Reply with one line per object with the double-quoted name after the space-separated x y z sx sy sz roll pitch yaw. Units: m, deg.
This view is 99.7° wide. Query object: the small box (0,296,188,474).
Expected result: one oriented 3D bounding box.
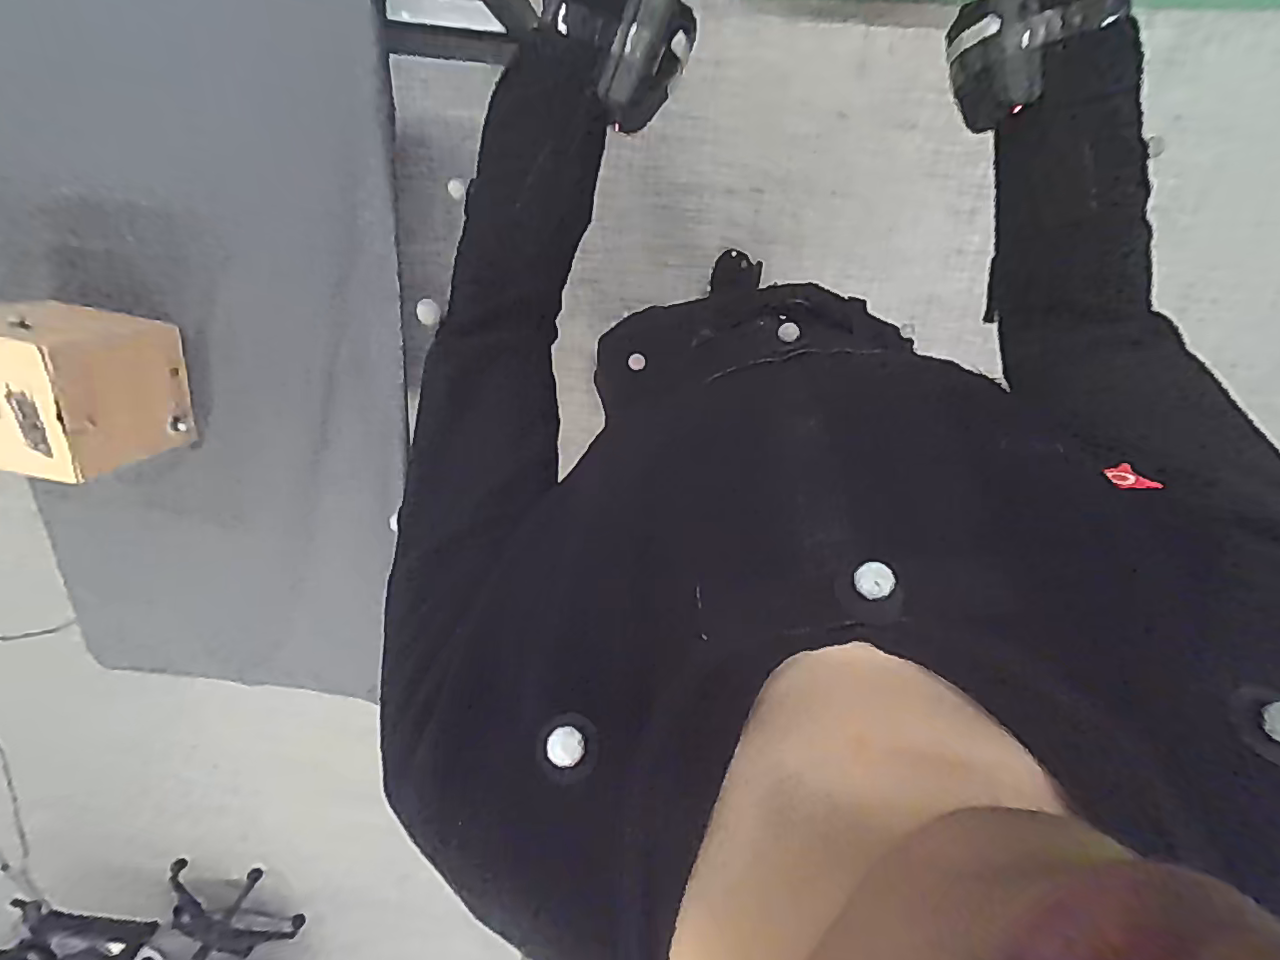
-0.712 -0.127 0.674 0.179 0.176 0.168 11 114 1 "small box"
